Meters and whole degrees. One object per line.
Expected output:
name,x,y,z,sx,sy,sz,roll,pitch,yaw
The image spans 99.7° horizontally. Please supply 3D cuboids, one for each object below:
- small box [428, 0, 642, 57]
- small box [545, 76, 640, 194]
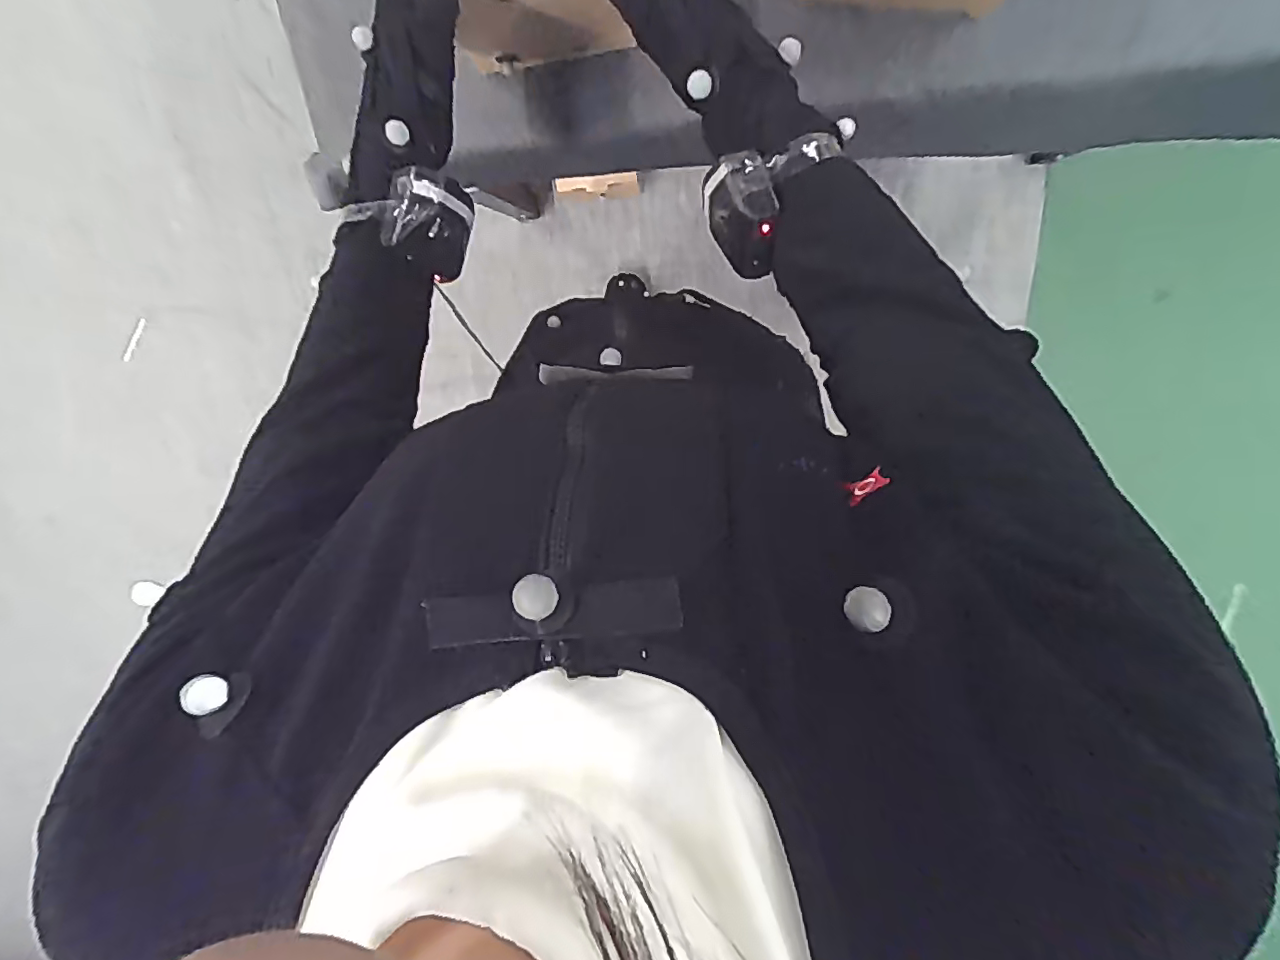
small box,-0.090,-0.478,0.437,0.168,0.176,0.179,-5,108,5
small box,-0.090,-0.709,1.133,0.168,0.176,0.179,-4,111,4
